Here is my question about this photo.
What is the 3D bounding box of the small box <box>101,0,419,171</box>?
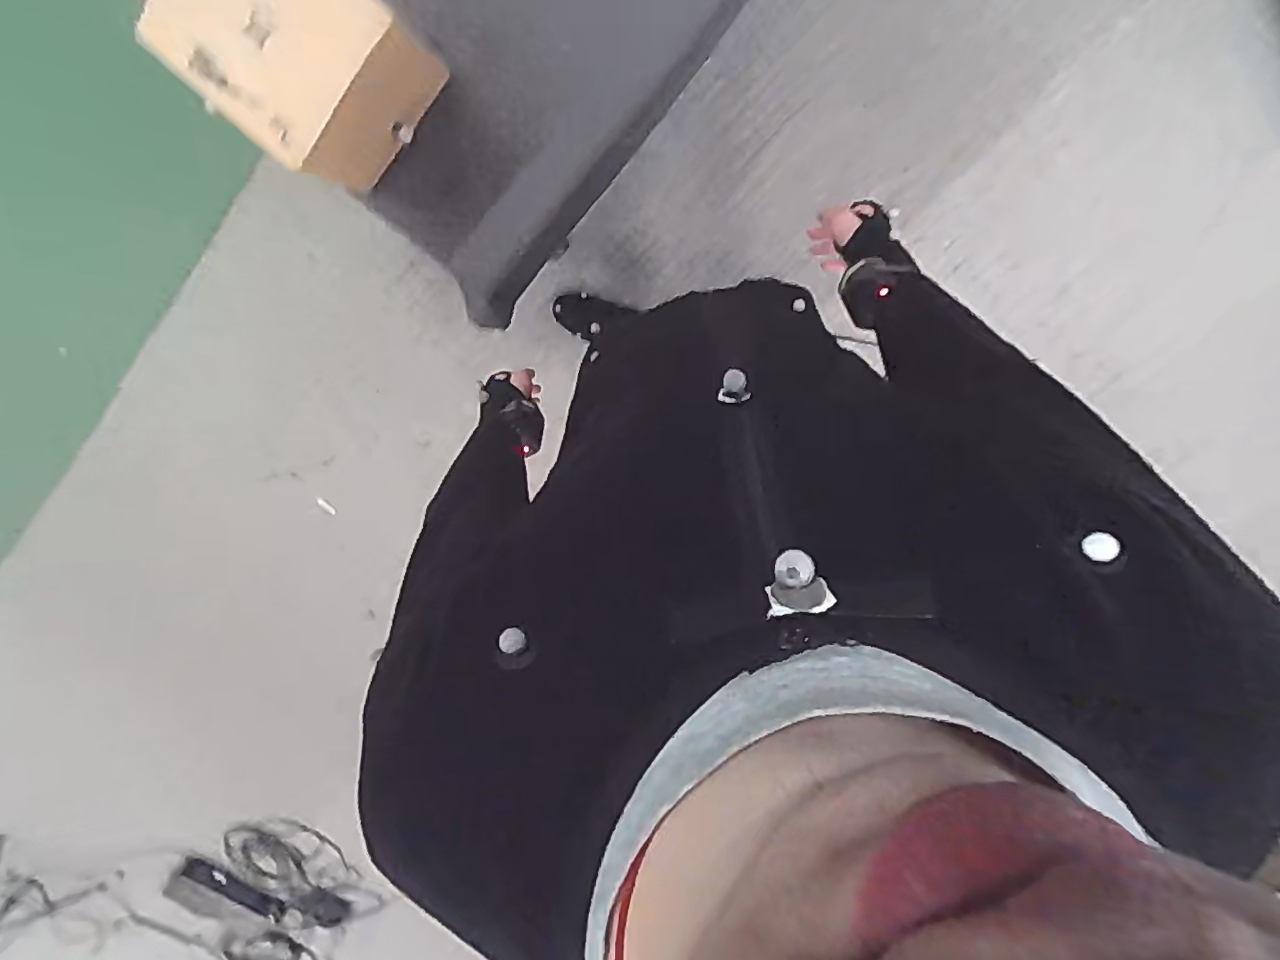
[{"bbox_3d":[-0.343,-0.442,0.528,0.168,0.176,0.179,41,104,-17],"label":"small box"}]
